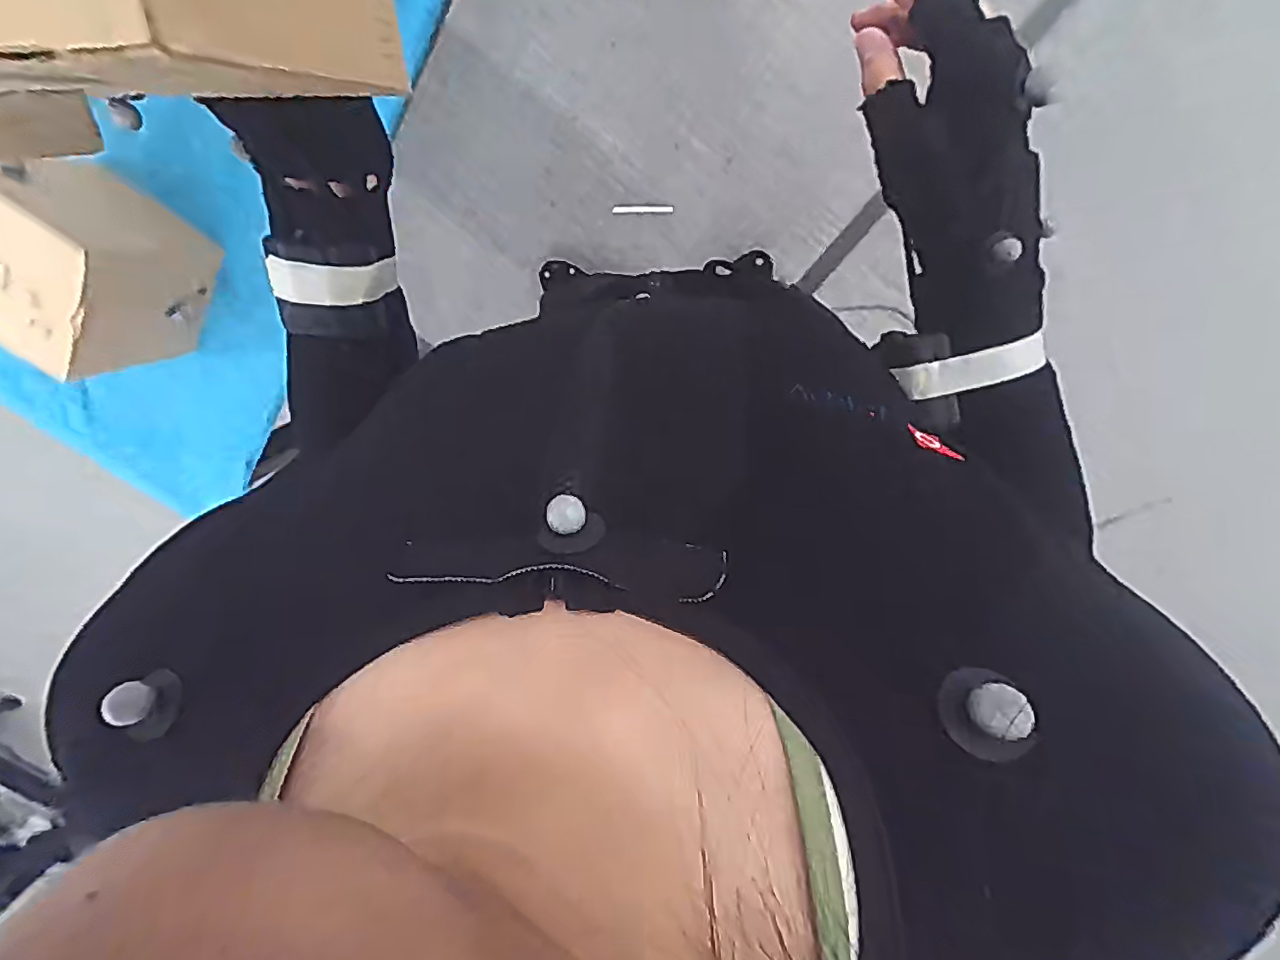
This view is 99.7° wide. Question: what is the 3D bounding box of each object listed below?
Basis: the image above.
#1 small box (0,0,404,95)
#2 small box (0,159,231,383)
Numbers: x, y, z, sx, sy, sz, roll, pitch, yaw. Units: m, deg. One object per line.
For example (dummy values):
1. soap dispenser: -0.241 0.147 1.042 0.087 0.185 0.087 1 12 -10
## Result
1. small box: -0.198 -0.229 0.166 0.168 0.176 0.179 2 122 3
2. small box: -0.649 -0.248 0.642 0.179 0.176 0.168 37 116 -11
